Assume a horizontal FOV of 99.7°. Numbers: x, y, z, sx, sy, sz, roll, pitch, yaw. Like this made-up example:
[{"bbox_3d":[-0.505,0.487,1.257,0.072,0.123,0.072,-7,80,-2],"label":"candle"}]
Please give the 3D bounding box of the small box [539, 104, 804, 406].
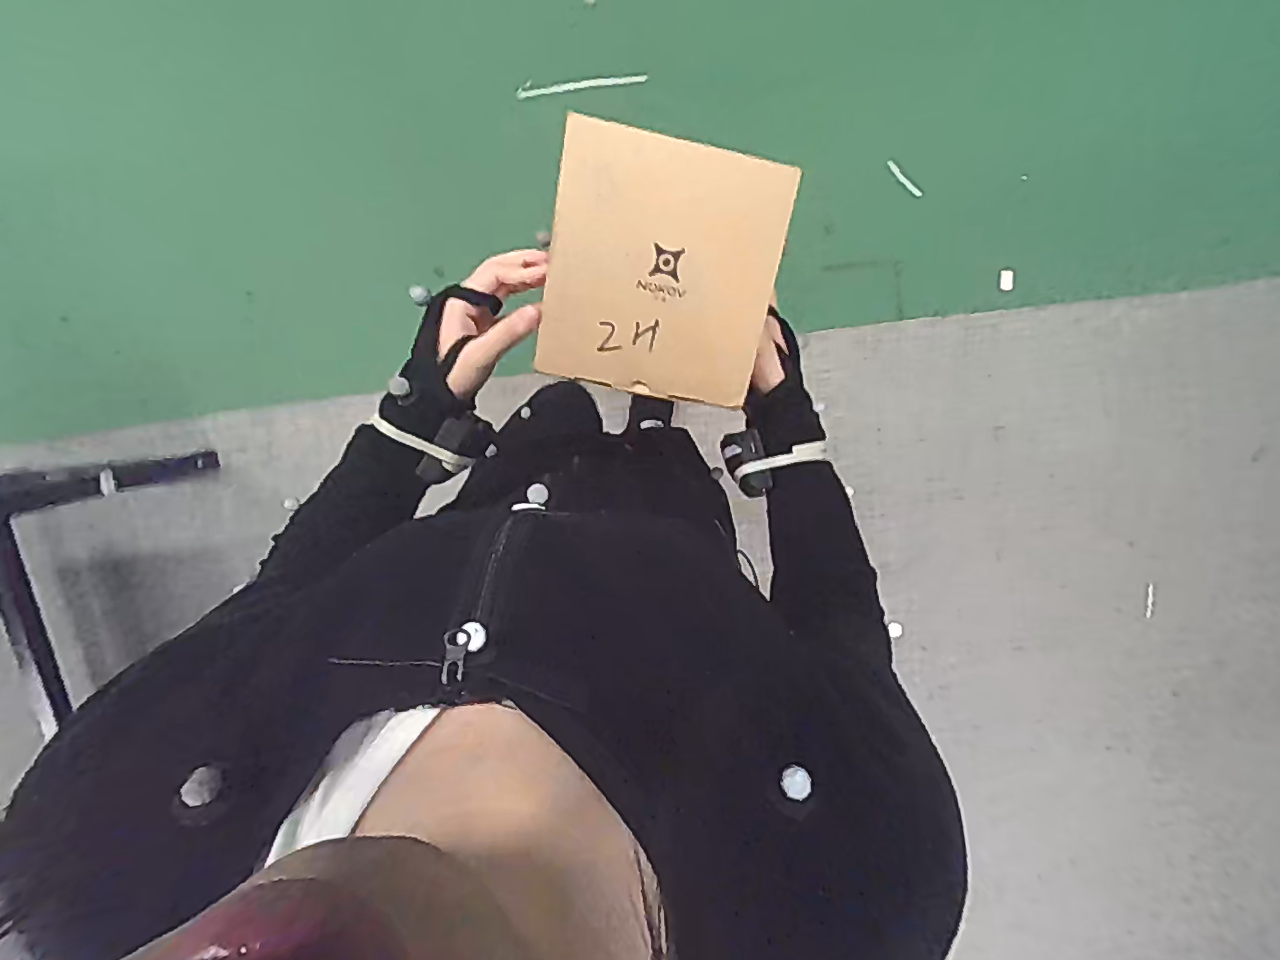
[{"bbox_3d":[0.013,-0.173,0.460,0.168,0.176,0.179,9,106,-7],"label":"small box"}]
